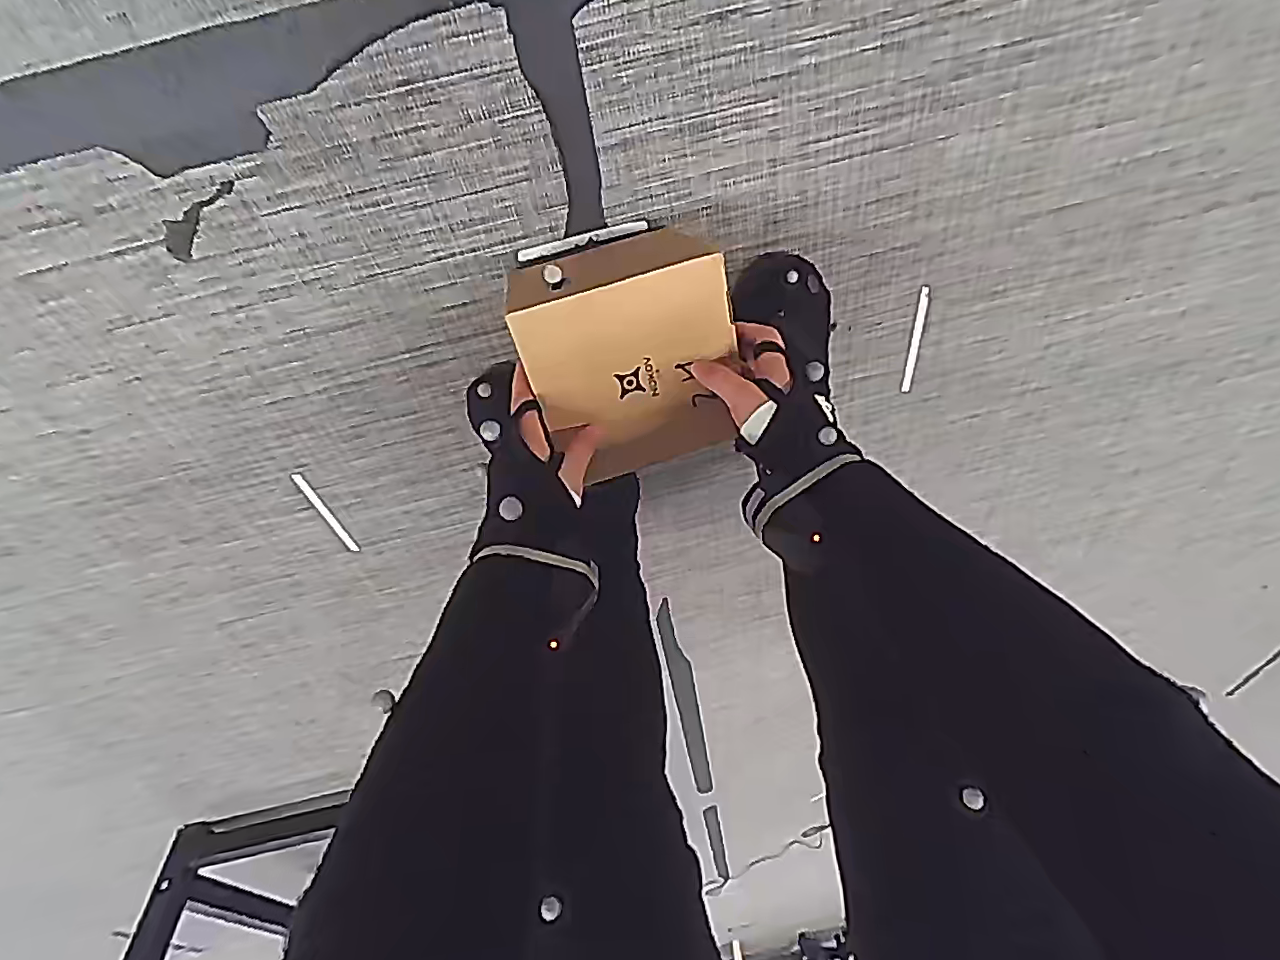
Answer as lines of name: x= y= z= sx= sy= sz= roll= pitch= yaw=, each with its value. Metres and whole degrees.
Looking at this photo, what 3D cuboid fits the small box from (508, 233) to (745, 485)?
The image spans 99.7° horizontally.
small box: x=-0.017 y=-0.124 z=0.521 sx=0.179 sy=0.176 sz=0.168 roll=-17 pitch=123 yaw=-4
